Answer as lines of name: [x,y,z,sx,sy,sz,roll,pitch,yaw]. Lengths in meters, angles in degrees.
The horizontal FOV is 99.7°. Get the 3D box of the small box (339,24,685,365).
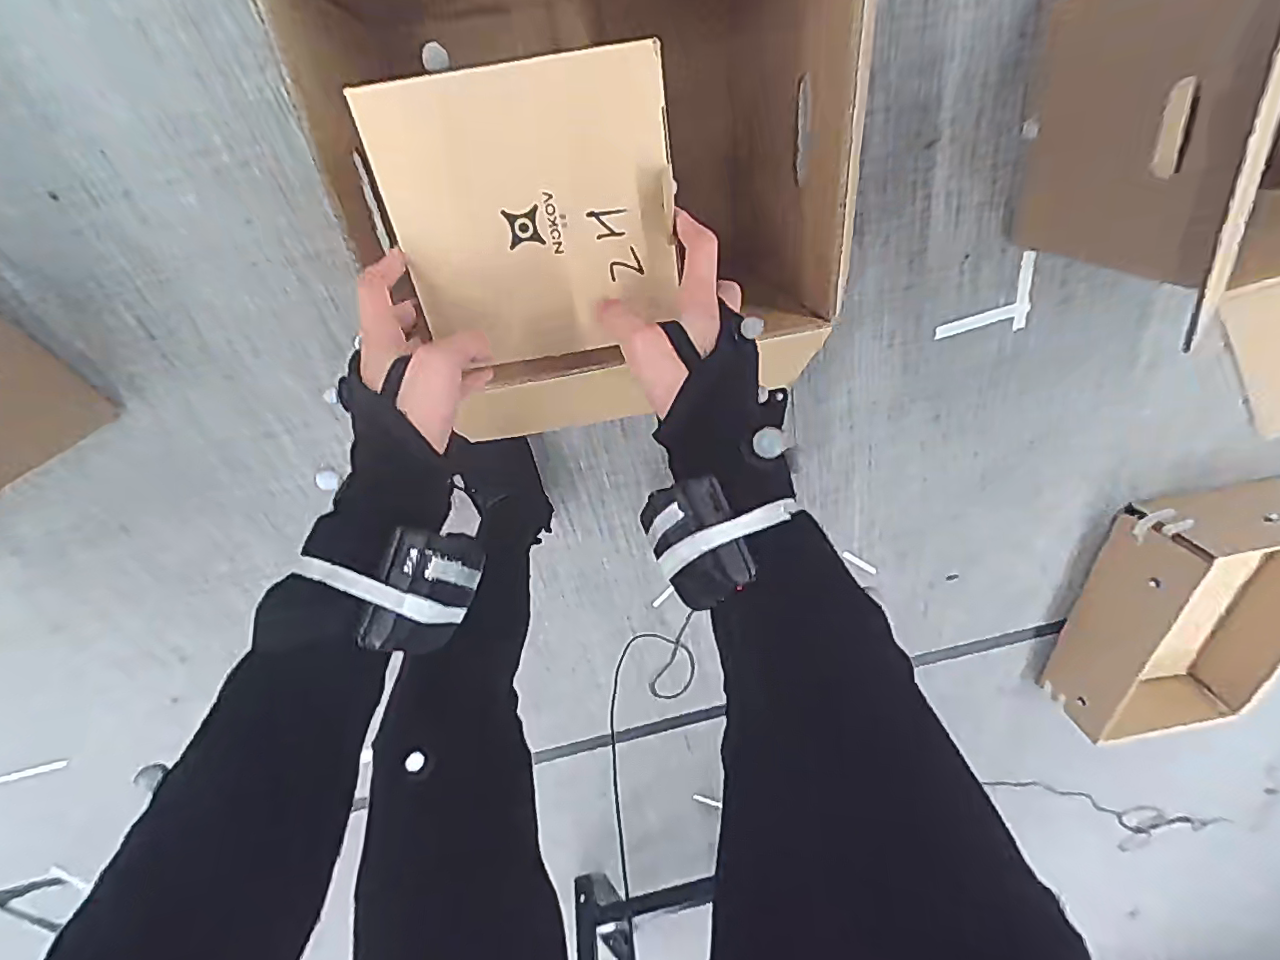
small box: [-0.071,-0.202,0.394,0.179,0.176,0.168,-10,124,0]
